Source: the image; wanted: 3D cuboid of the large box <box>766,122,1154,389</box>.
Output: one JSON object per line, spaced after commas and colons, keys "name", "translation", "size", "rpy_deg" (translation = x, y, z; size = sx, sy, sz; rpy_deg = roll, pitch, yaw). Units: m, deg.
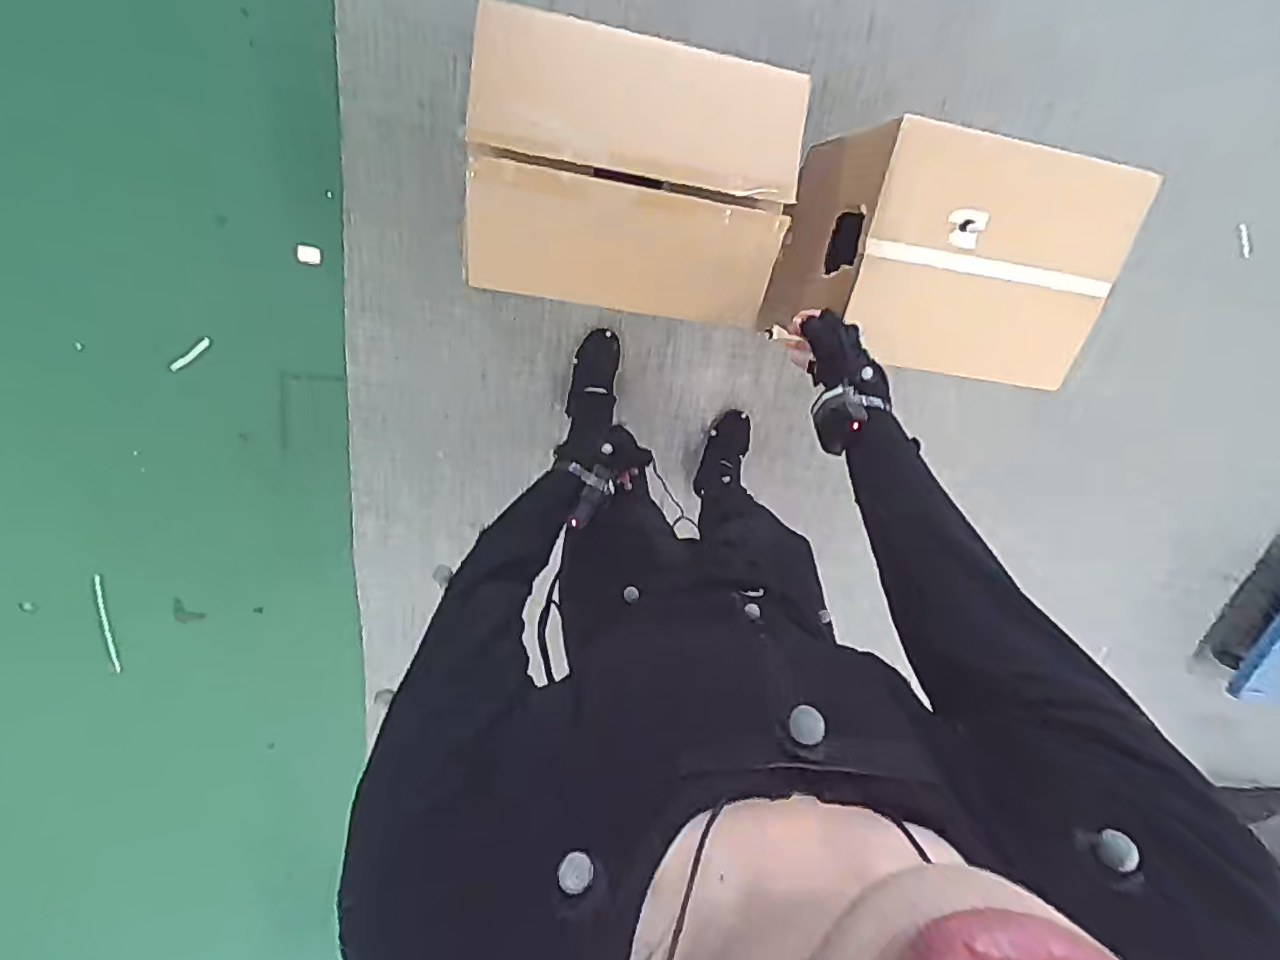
{"name": "large box", "translation": [0.480, -0.366, 0.911], "size": [0.408, 0.320, 0.320], "rpy_deg": [7, 114, -8]}
